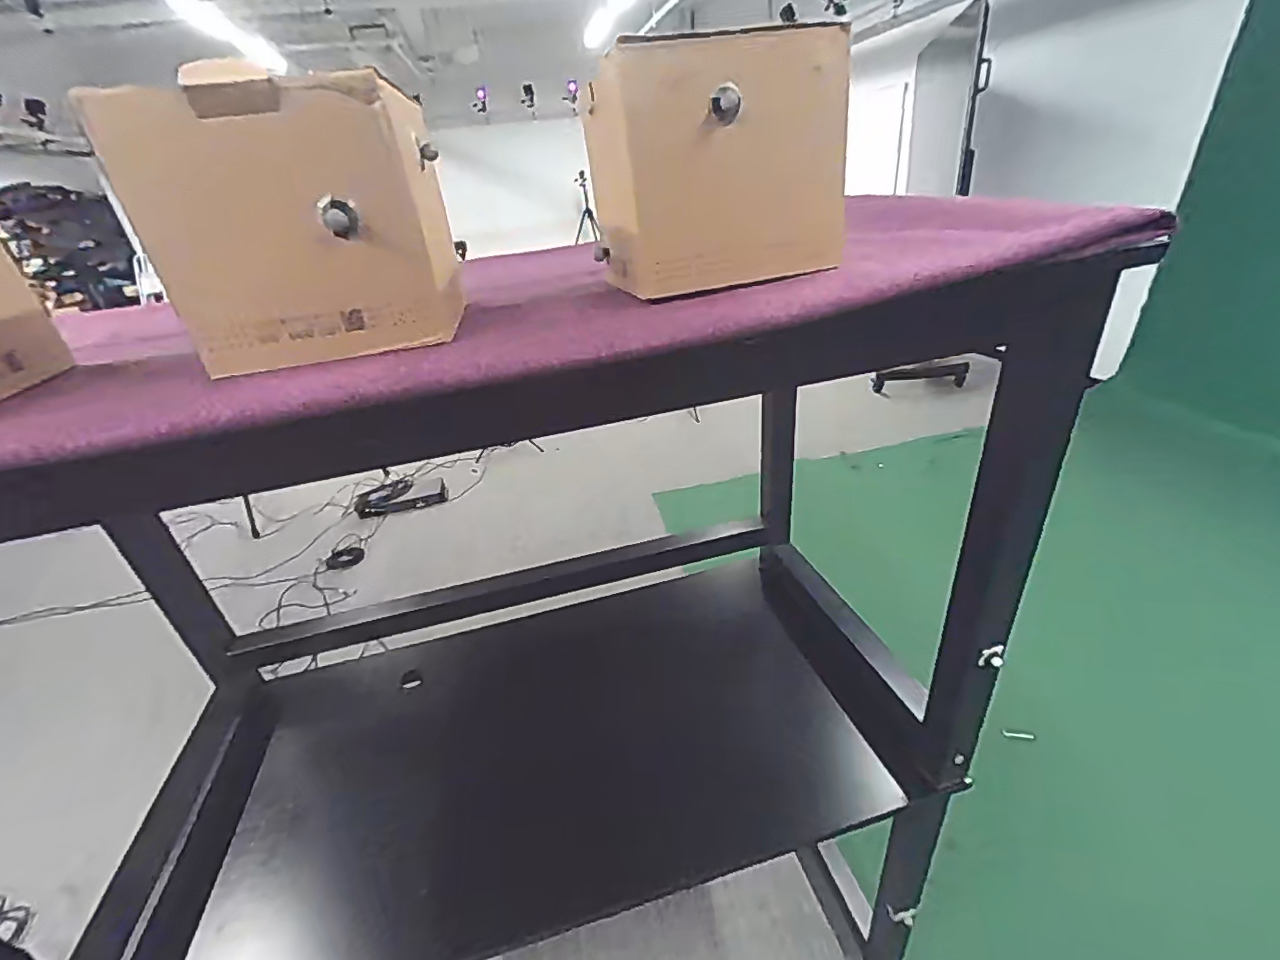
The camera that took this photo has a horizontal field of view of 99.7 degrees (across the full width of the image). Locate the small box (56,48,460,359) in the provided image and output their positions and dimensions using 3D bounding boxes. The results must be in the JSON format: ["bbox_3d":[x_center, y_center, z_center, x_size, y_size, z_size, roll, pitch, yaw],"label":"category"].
[{"bbox_3d":[-0.243,-0.197,0.409,0.168,0.176,0.179,-11,29,-8],"label":"small box"}]

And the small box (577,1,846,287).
[{"bbox_3d":[0.055,-0.270,0.466,0.179,0.176,0.168,-13,28,-10],"label":"small box"}]
